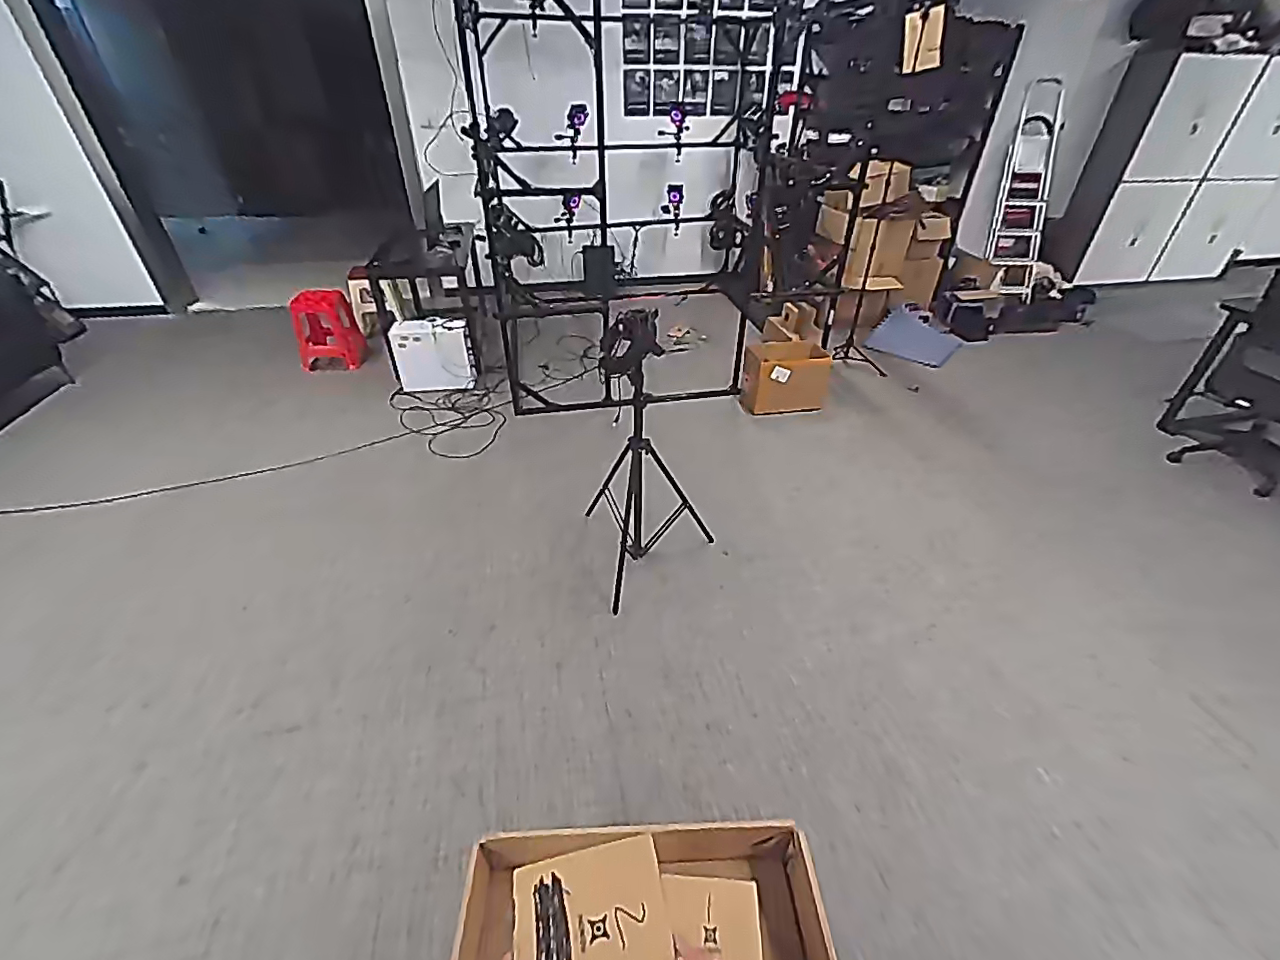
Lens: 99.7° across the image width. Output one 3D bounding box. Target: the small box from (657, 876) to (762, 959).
[{"bbox_3d":[0.112,0.801,0.902,0.168,0.176,0.179,2,35,4],"label":"small box"}]
